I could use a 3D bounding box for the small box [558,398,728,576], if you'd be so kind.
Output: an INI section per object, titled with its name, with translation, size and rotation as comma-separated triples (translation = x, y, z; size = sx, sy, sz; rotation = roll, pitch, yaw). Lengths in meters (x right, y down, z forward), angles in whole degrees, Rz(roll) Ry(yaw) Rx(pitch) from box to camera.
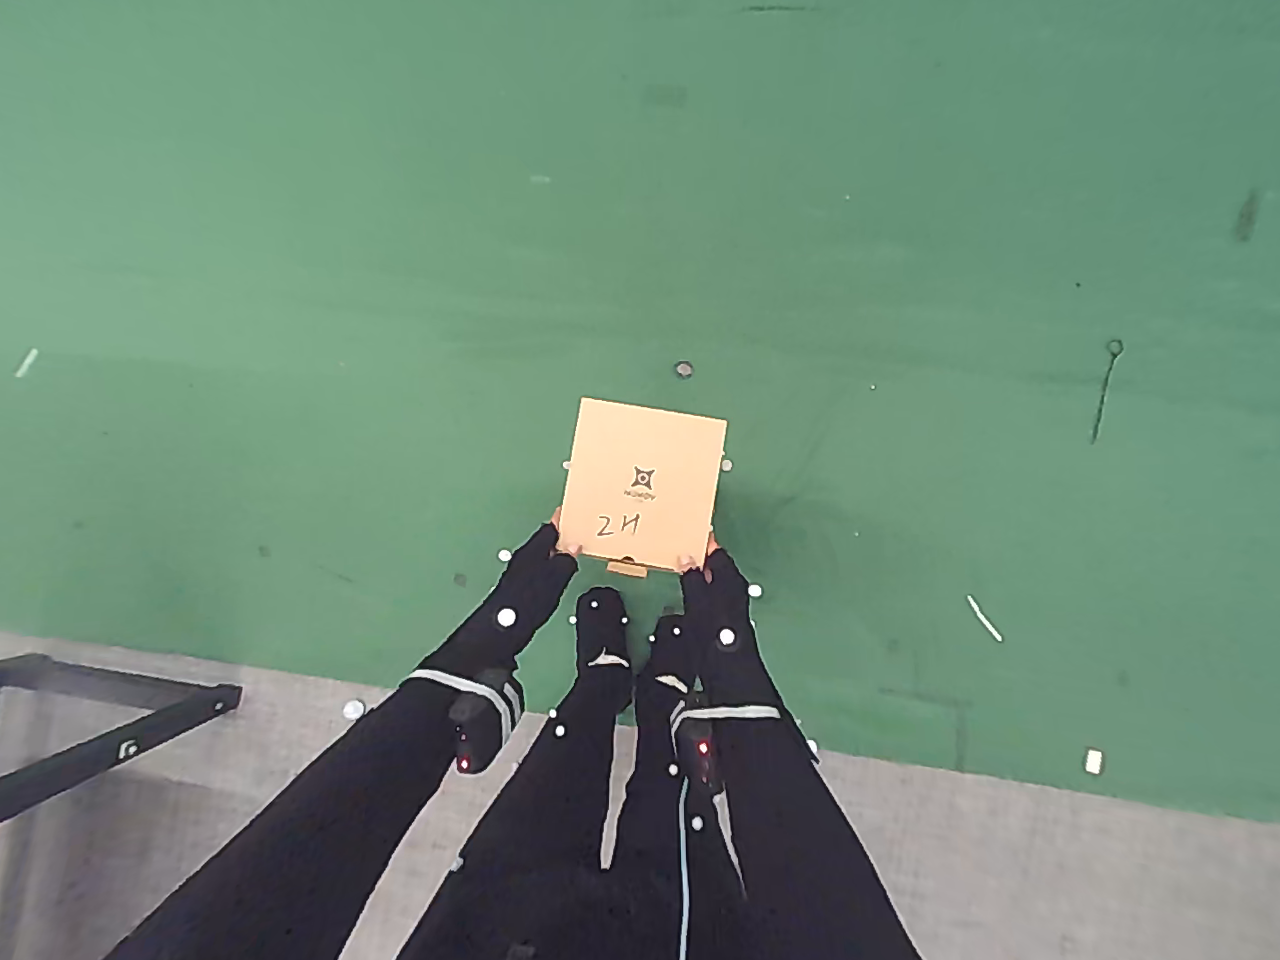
[small box]
translation = 0.006, 0.012, 0.677
size = 0.168, 0.176, 0.179
rotation = 10, 87, 3
